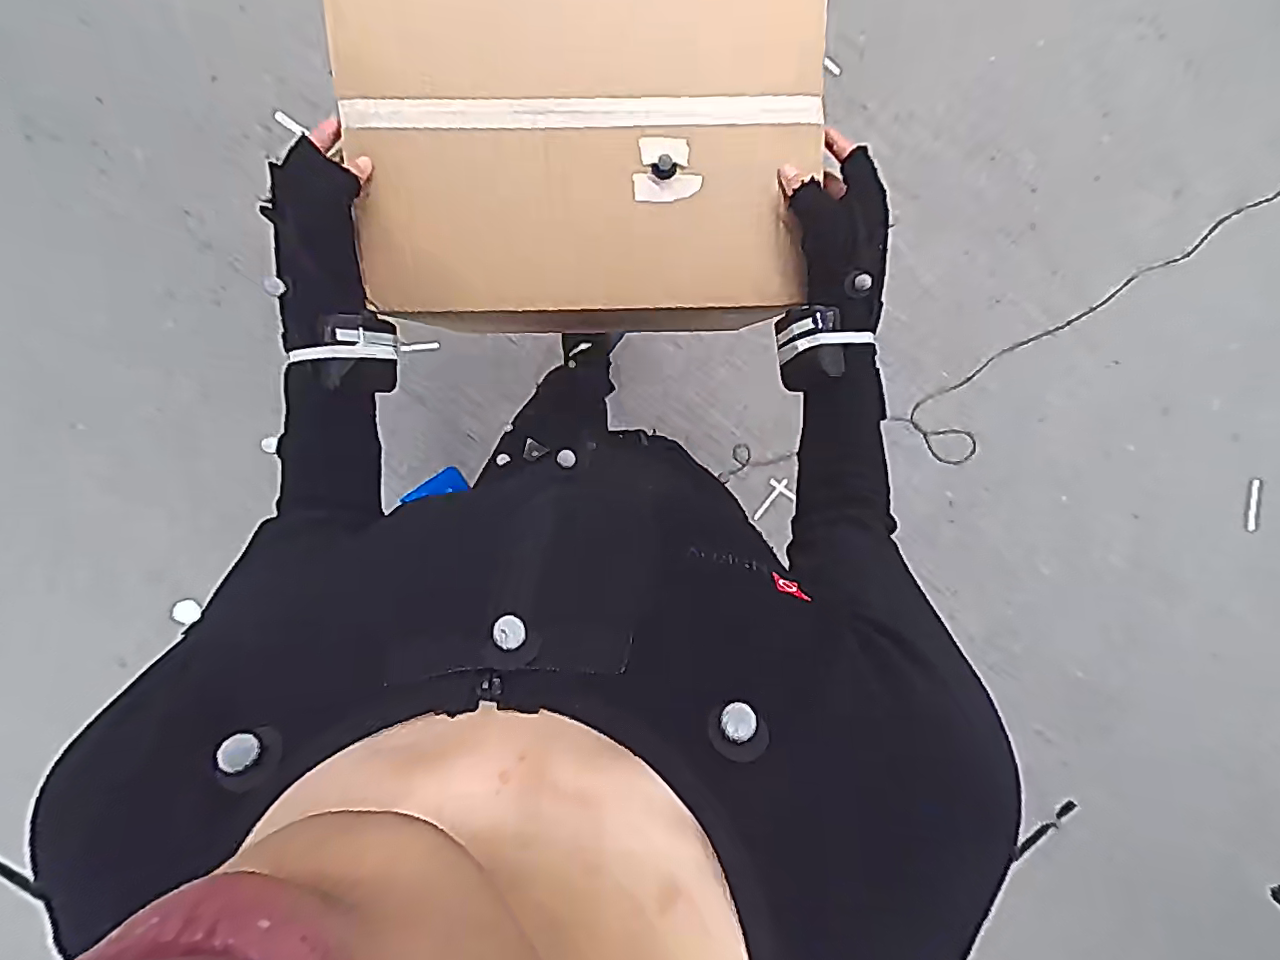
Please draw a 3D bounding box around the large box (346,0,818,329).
[{"bbox_3d":[-0.051,-0.349,0.615,0.408,0.320,0.320,-1,101,-2],"label":"large box"}]

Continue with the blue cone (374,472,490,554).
[{"bbox_3d":[-0.541,0.113,1.351,0.192,0.380,0.193,-31,95,7],"label":"blue cone"}]
